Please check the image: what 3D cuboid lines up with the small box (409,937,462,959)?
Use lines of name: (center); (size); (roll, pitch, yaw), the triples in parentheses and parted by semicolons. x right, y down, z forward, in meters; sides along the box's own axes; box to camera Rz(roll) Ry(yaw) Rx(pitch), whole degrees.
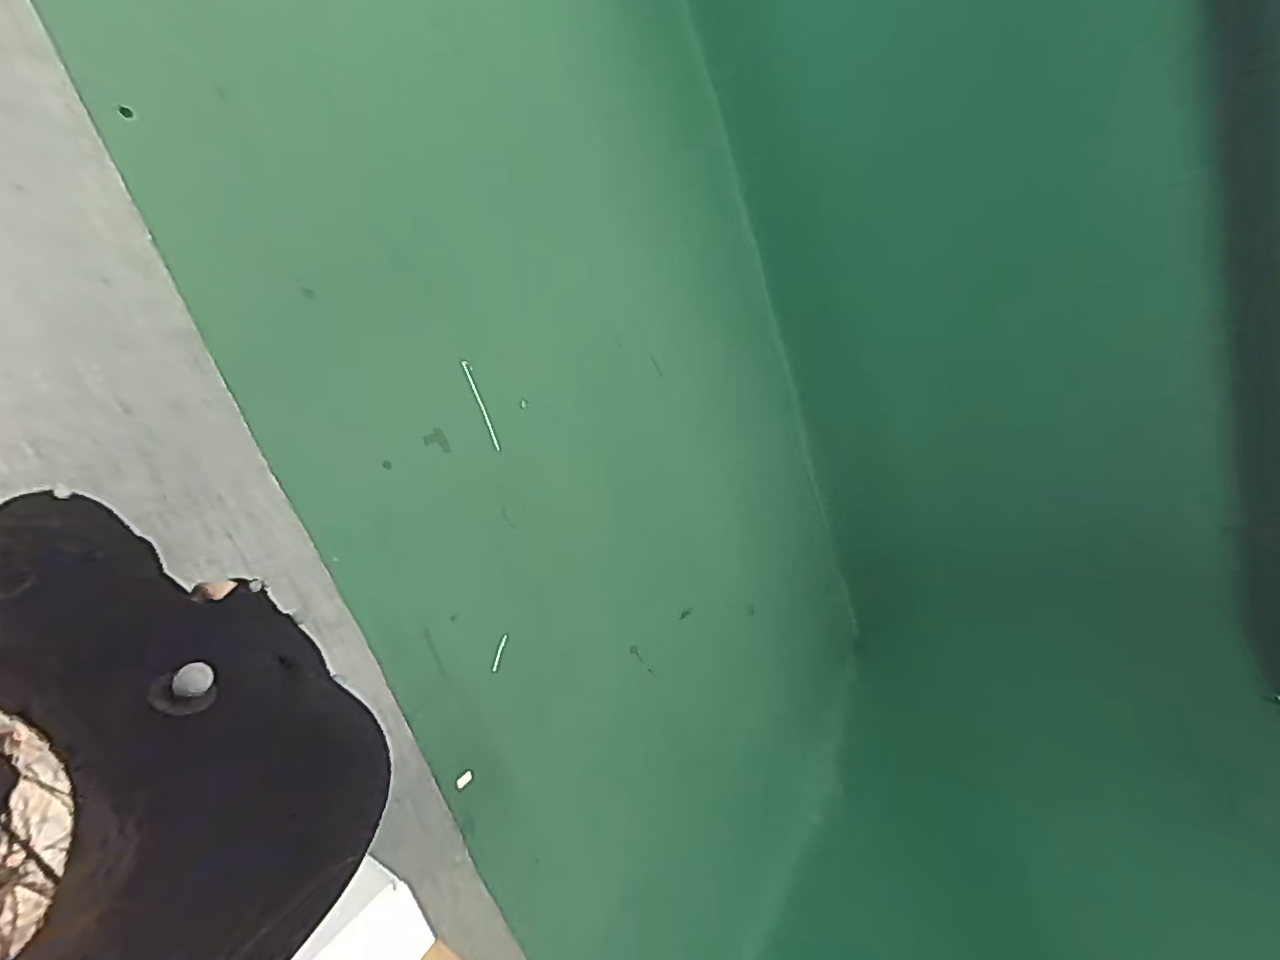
small box: (-0.324, 0.887, 0.852); (0.179, 0.176, 0.168); (-37, 112, -46)
